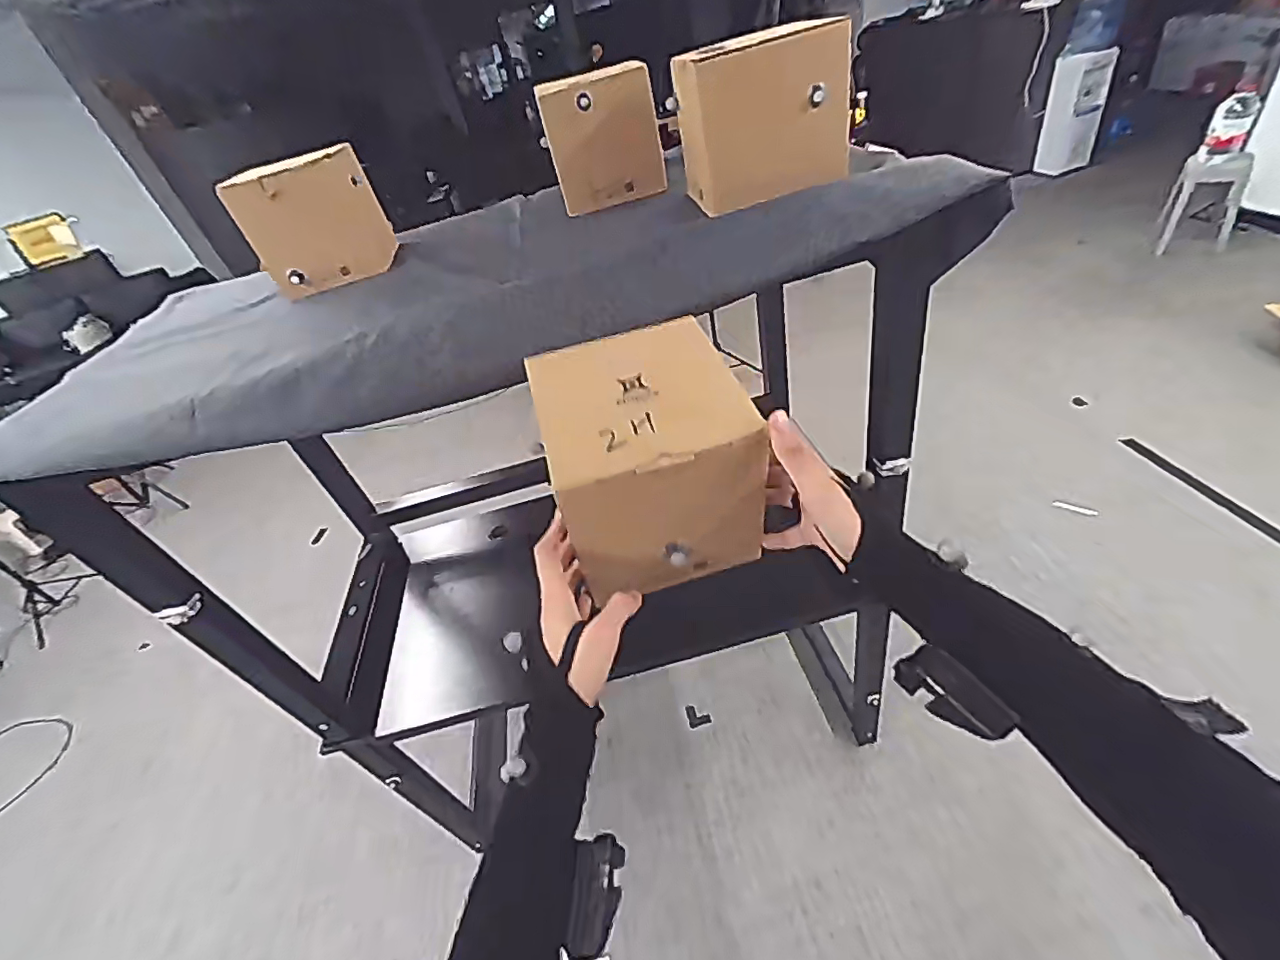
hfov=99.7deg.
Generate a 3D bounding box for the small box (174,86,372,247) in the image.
[{"bbox_3d":[-0.538,-0.476,0.826,0.168,0.176,0.179,-18,40,-3],"label":"small box"}]

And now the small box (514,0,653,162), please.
[{"bbox_3d":[-0.085,-0.609,0.832,0.168,0.176,0.179,-16,40,1],"label":"small box"}]

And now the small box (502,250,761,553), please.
[{"bbox_3d":[-0.010,-0.067,0.469,0.168,0.176,0.179,-16,48,-6],"label":"small box"}]
